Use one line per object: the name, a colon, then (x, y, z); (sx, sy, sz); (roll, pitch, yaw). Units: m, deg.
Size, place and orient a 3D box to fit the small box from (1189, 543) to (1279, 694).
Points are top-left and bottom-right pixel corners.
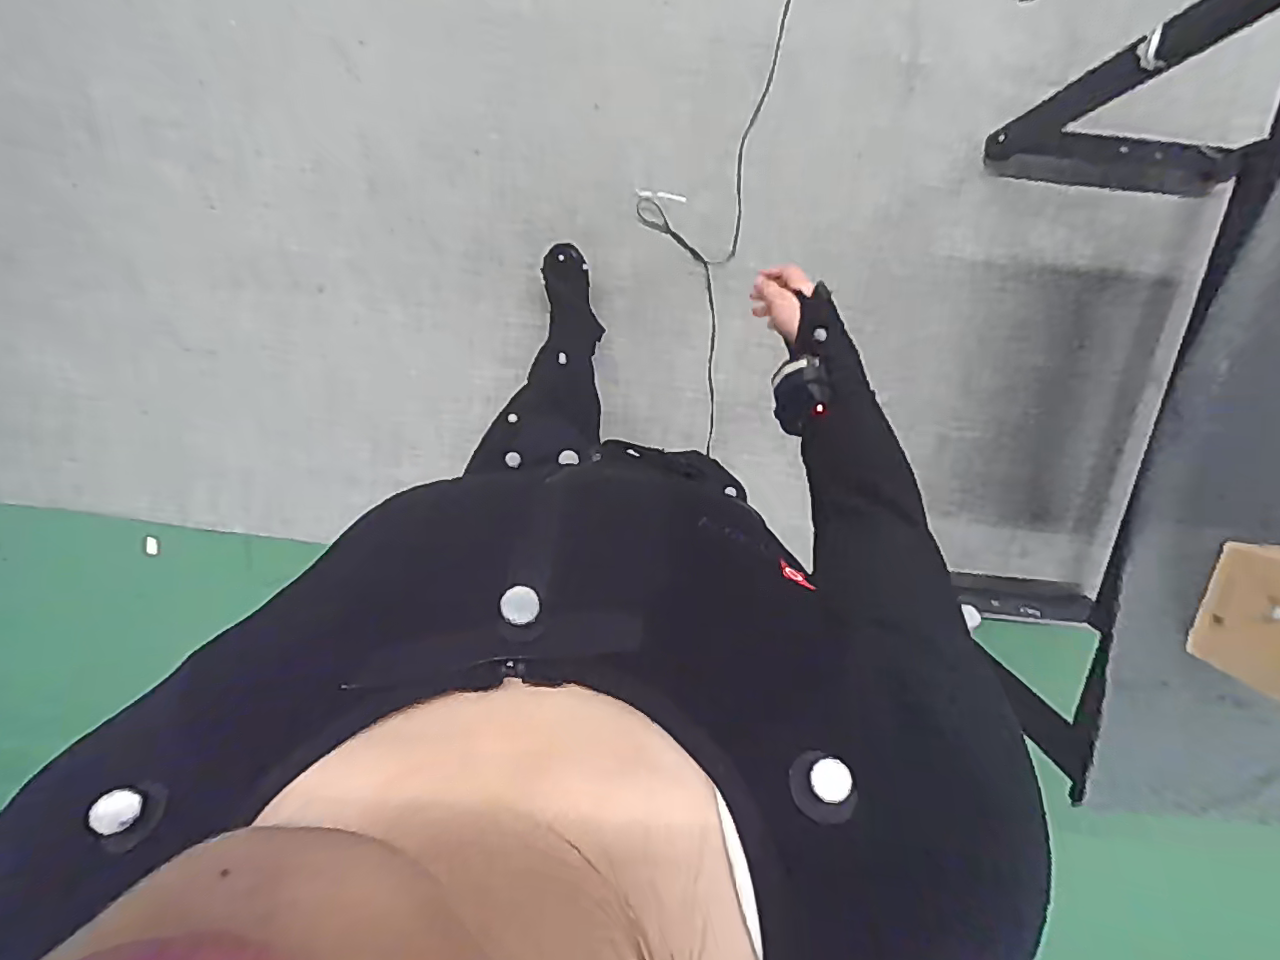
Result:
small box: (0.860, 0.186, 0.670); (0.179, 0.176, 0.168); (6, 103, -2)
